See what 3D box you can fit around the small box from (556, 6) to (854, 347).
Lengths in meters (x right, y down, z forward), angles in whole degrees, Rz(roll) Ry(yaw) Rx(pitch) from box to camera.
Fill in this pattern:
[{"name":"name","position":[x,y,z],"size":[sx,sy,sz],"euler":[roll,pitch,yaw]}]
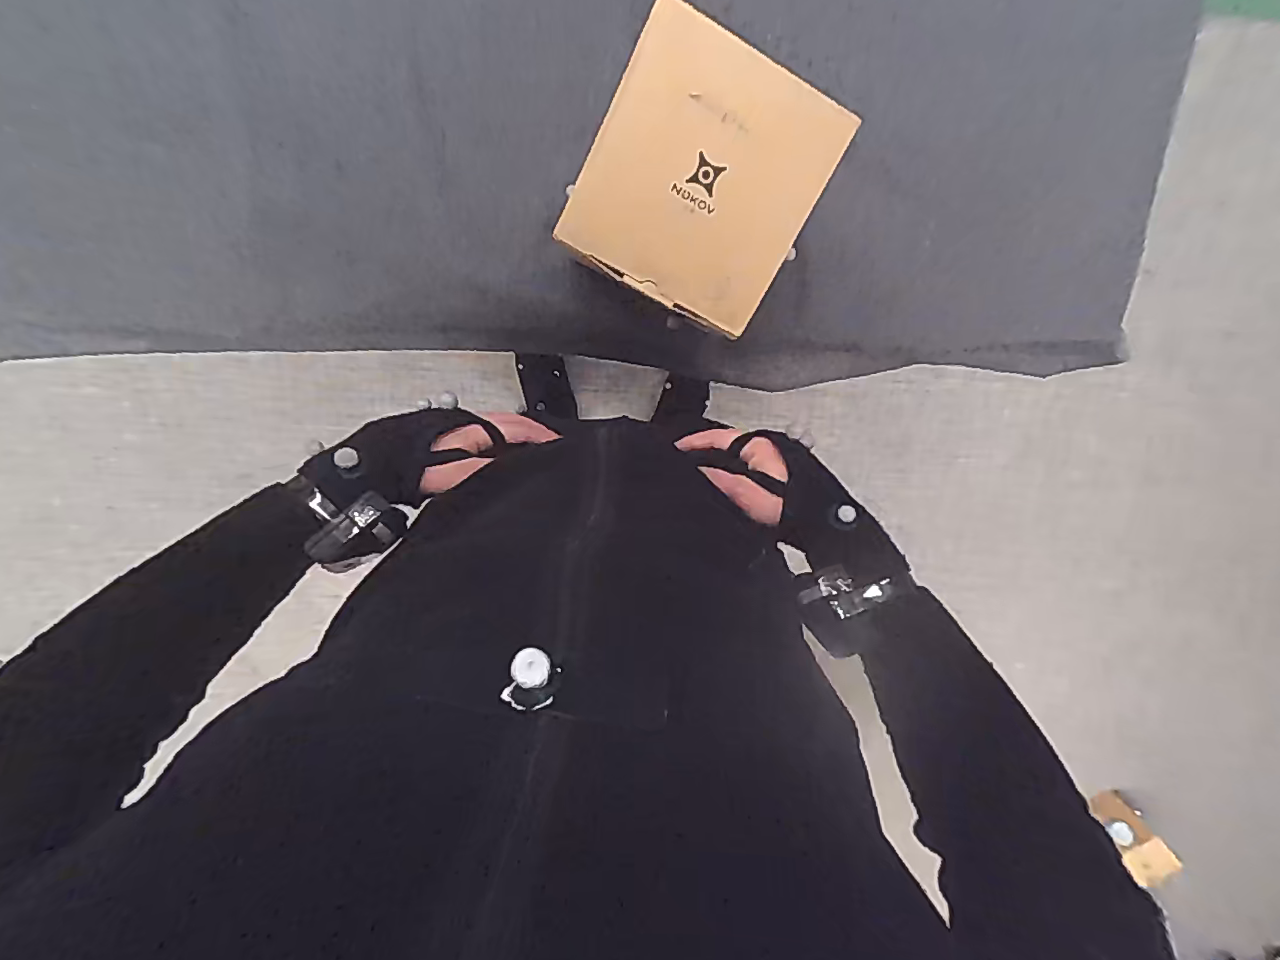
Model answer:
[{"name":"small box","position":[0.044,-0.236,0.474],"size":[0.168,0.176,0.179],"euler":[25,104,-10]}]
